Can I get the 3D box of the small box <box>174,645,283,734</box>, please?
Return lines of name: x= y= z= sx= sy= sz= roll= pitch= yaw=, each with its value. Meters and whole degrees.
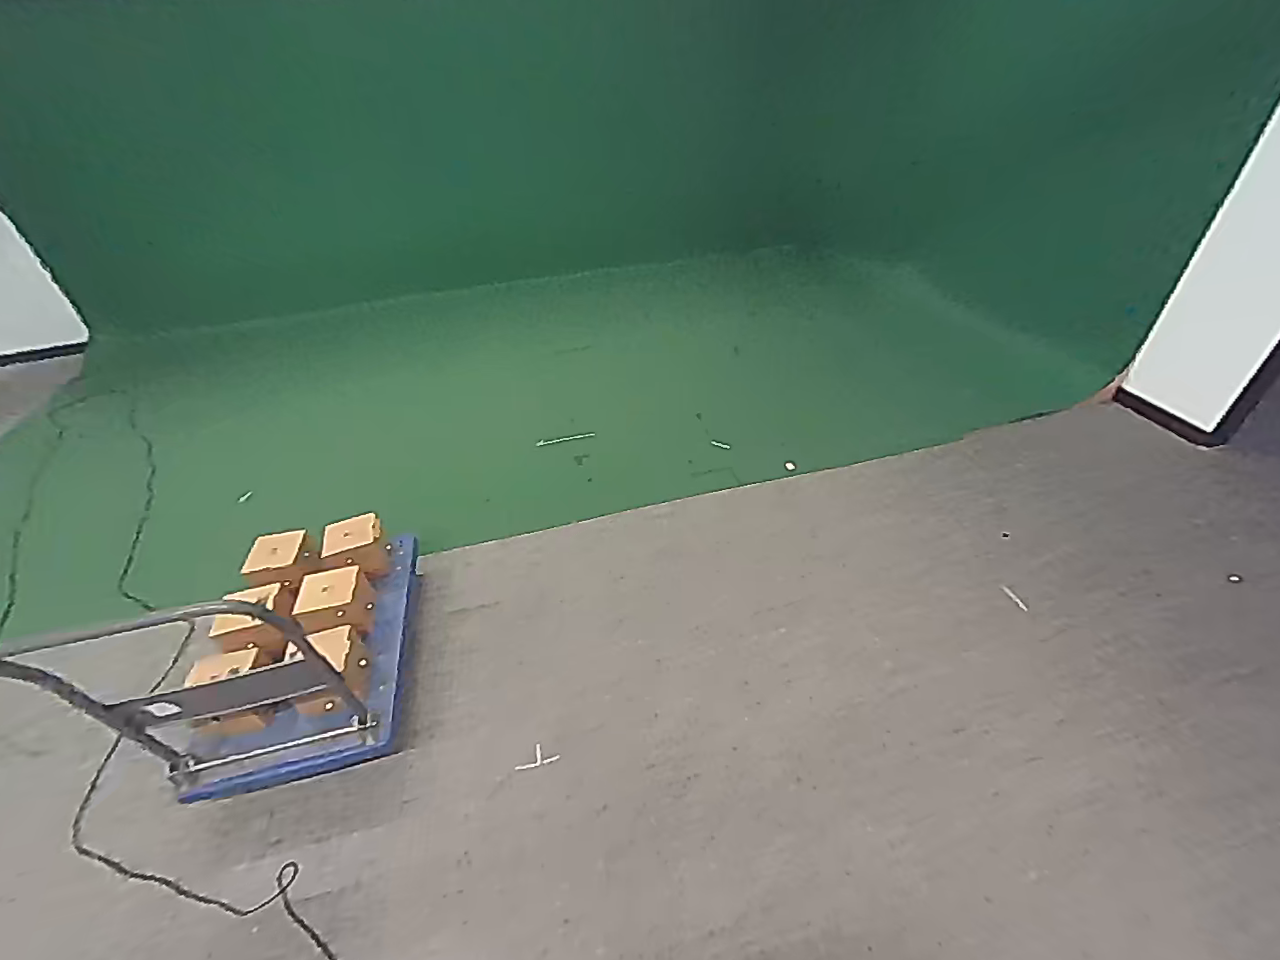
small box: x=-1.178 y=0.609 z=1.571 sx=0.179 sy=0.176 sz=0.168 roll=-10 pitch=40 yaw=-5

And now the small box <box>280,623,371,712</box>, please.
small box: x=-0.922 y=0.558 z=1.606 sx=0.179 sy=0.176 sz=0.168 roll=-12 pitch=41 yaw=-10

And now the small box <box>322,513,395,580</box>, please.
small box: x=-1.024 y=0.247 z=1.980 sx=0.179 sy=0.176 sz=0.168 roll=-10 pitch=43 yaw=-8

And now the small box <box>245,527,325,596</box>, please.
small box: x=-1.269 y=0.299 z=1.948 sx=0.168 sy=0.176 sz=0.179 roll=-8 pitch=41 yaw=-6
